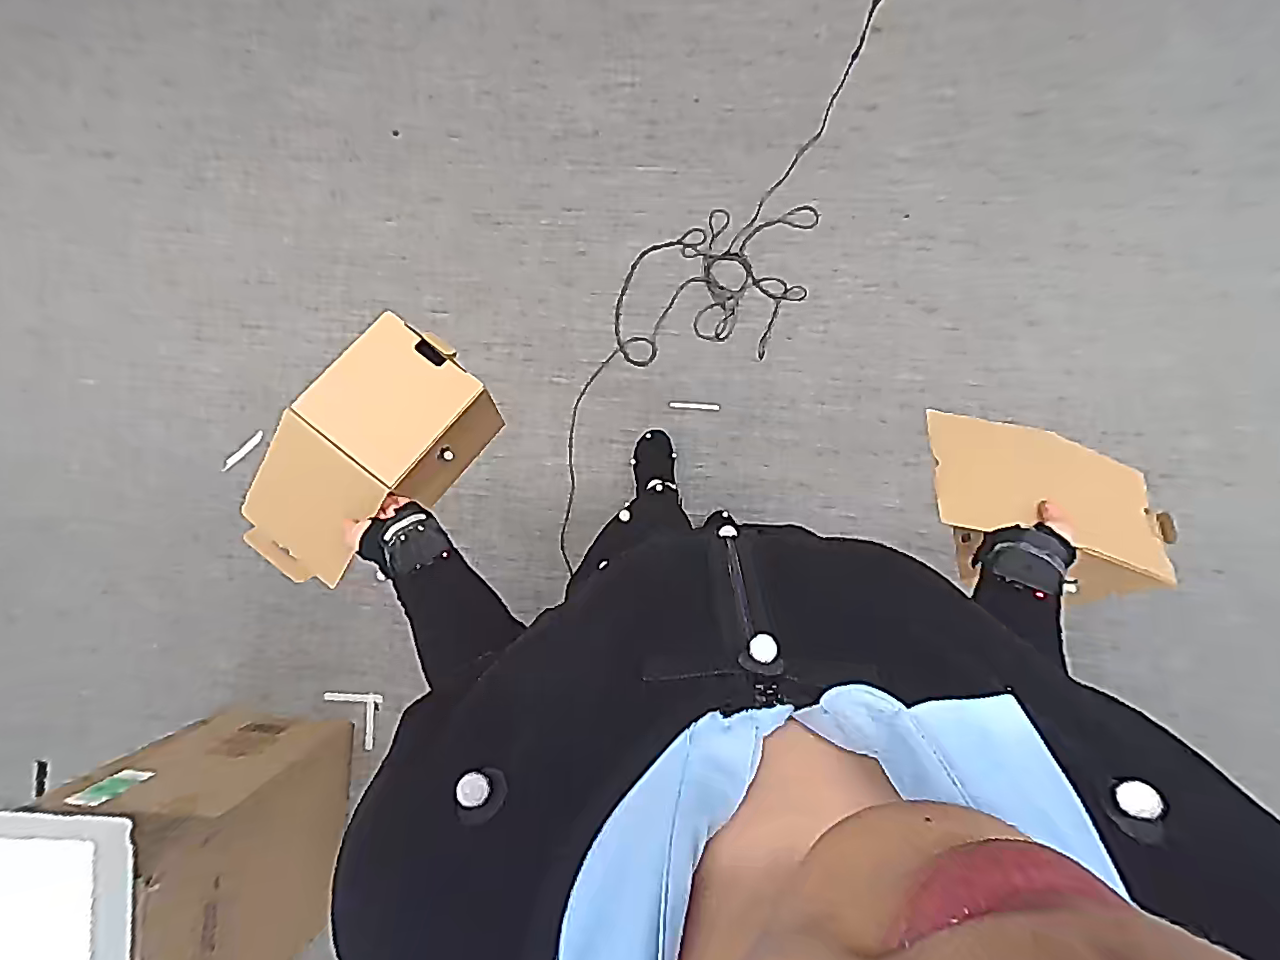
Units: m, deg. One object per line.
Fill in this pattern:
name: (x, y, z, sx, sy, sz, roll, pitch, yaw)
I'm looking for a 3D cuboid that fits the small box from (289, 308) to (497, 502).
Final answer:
small box: (-0.319, -0.090, 0.744, 0.168, 0.176, 0.179, 38, 77, 3)
